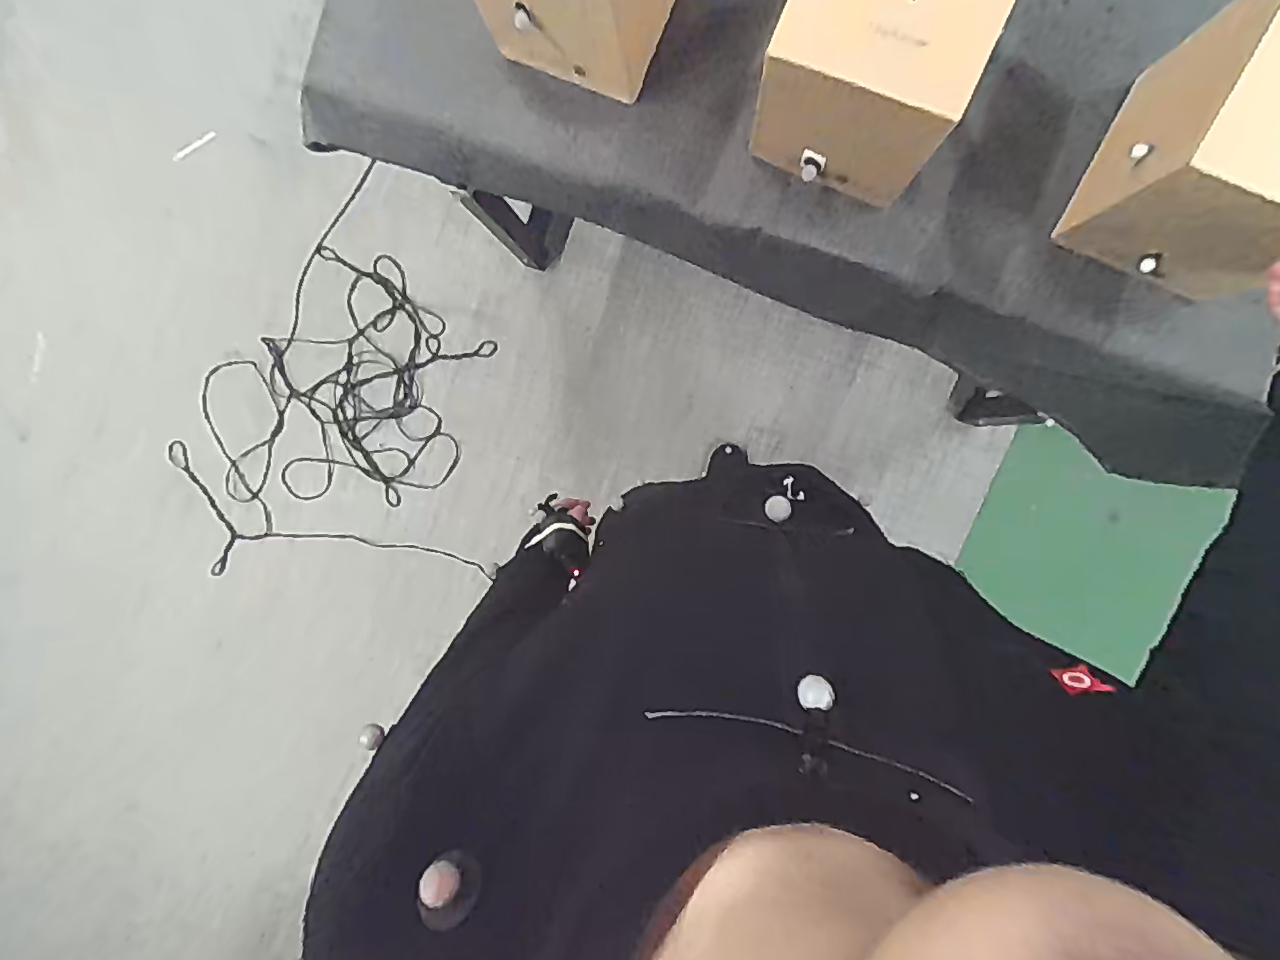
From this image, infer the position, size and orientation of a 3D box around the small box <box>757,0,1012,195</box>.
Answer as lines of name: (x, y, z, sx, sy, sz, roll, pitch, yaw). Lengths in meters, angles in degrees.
small box: (0.216, -0.402, 0.492, 0.168, 0.176, 0.179, 23, 97, 5)

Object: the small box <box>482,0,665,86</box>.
small box: (-0.062, -0.527, 0.510, 0.168, 0.176, 0.179, 23, 95, 4)
